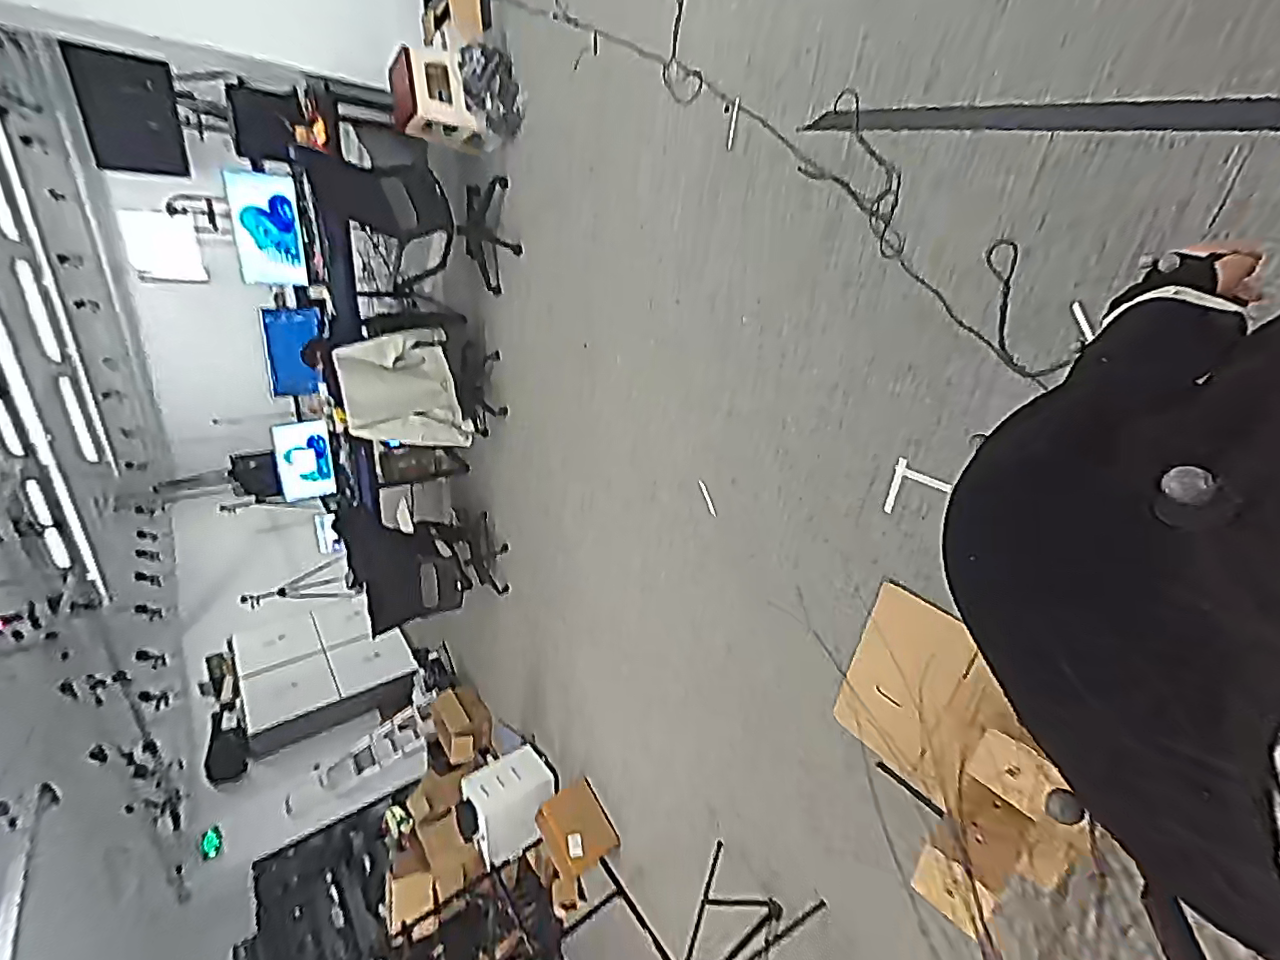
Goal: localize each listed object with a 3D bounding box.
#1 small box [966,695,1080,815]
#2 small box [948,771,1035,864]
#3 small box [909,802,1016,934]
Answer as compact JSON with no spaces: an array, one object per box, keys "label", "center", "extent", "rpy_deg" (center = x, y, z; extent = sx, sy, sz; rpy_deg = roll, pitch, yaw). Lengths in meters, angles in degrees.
[{"label":"small box","center":[0.968,0.682,1.363],"extent":[0.168,0.176,0.179],"rpy_deg":[32,126,43]},{"label":"small box","center":[0.946,0.940,1.476],"extent":[0.168,0.176,0.179],"rpy_deg":[26,121,46]},{"label":"small box","center":[0.821,0.977,1.376],"extent":[0.168,0.176,0.179],"rpy_deg":[27,122,44]}]
